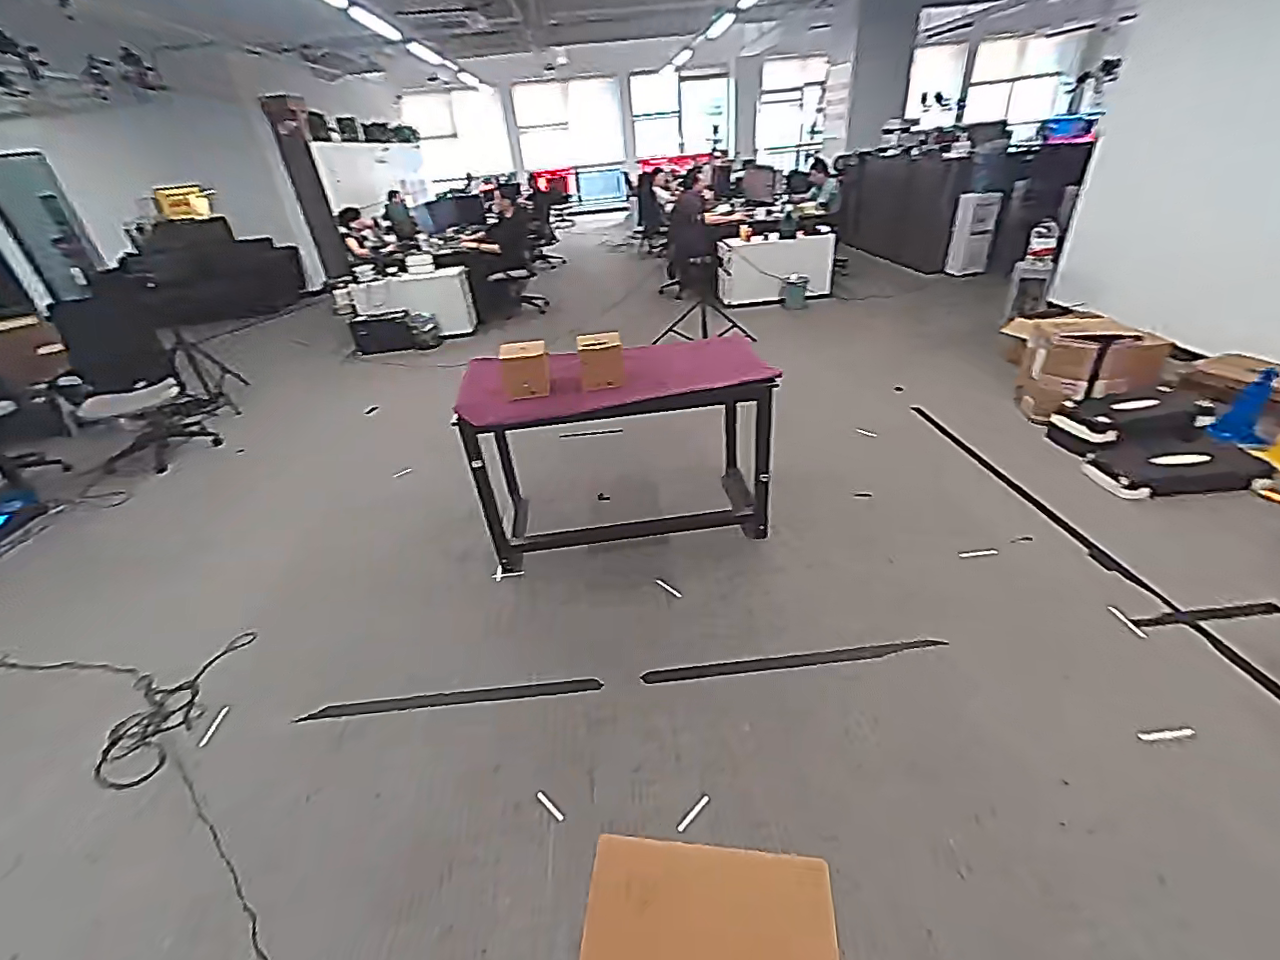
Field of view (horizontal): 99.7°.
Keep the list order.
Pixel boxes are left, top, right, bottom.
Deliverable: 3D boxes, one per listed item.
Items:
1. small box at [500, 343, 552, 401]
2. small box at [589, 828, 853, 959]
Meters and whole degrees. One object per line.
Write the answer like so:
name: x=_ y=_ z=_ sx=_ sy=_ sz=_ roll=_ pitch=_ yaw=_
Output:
small box: x=-0.439 y=-0.422 z=2.103 sx=0.168 sy=0.176 sz=0.179 roll=-7 pitch=32 yaw=-5
small box: x=0.050 y=0.372 z=0.366 sx=0.168 sy=0.176 sz=0.179 roll=1 pitch=37 yaw=7
